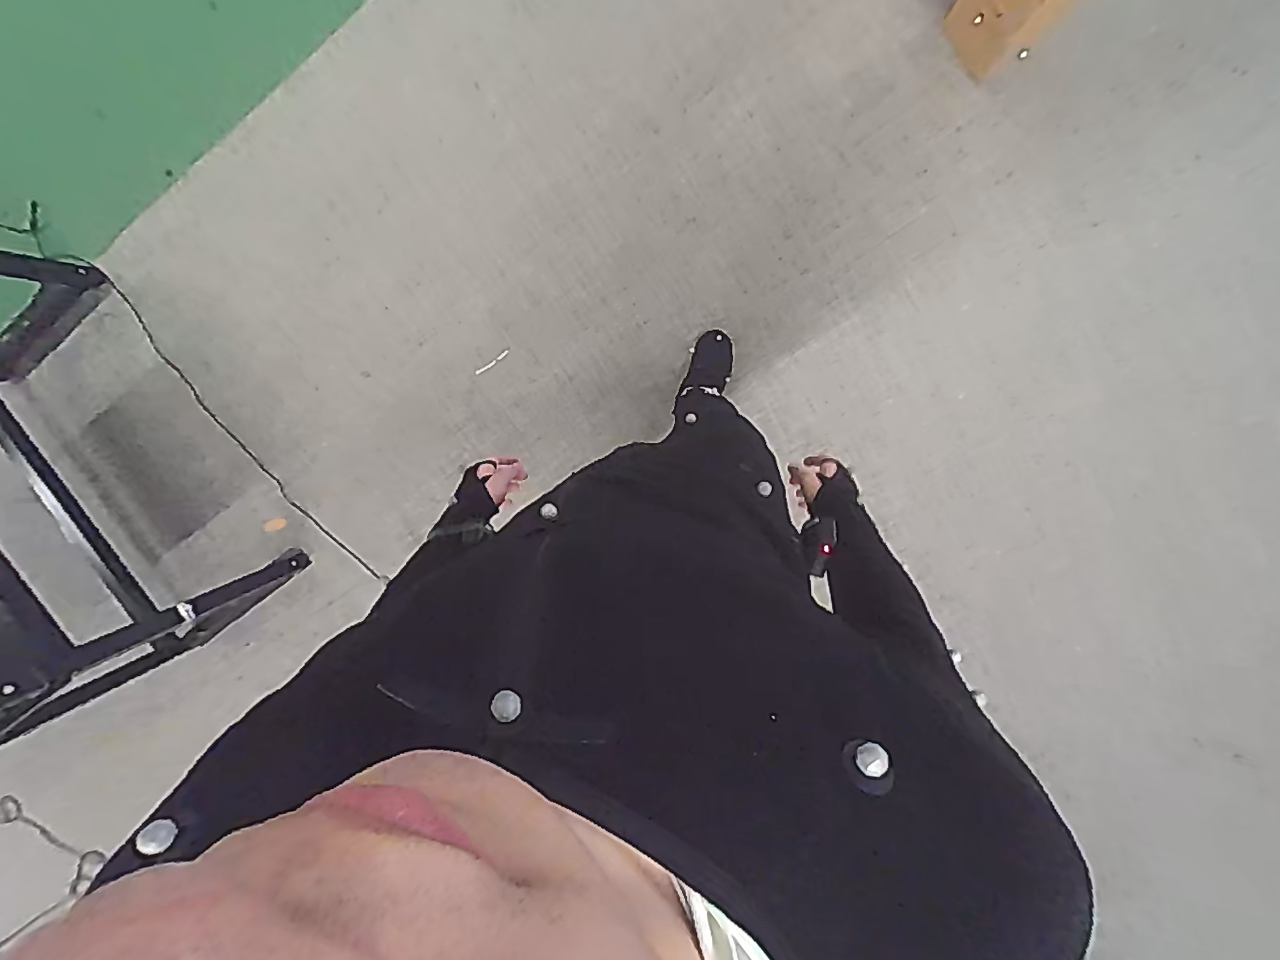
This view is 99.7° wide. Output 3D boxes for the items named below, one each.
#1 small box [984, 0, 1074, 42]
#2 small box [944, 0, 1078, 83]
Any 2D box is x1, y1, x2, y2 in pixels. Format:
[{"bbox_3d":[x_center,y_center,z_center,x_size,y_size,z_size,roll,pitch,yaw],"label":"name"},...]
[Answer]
[{"bbox_3d":[0.813,-1.041,1.079,0.179,0.176,0.168,-30,95,11],"label":"small box"},{"bbox_3d":[0.837,-1.072,1.238,0.168,0.176,0.179,-31,94,12],"label":"small box"}]
